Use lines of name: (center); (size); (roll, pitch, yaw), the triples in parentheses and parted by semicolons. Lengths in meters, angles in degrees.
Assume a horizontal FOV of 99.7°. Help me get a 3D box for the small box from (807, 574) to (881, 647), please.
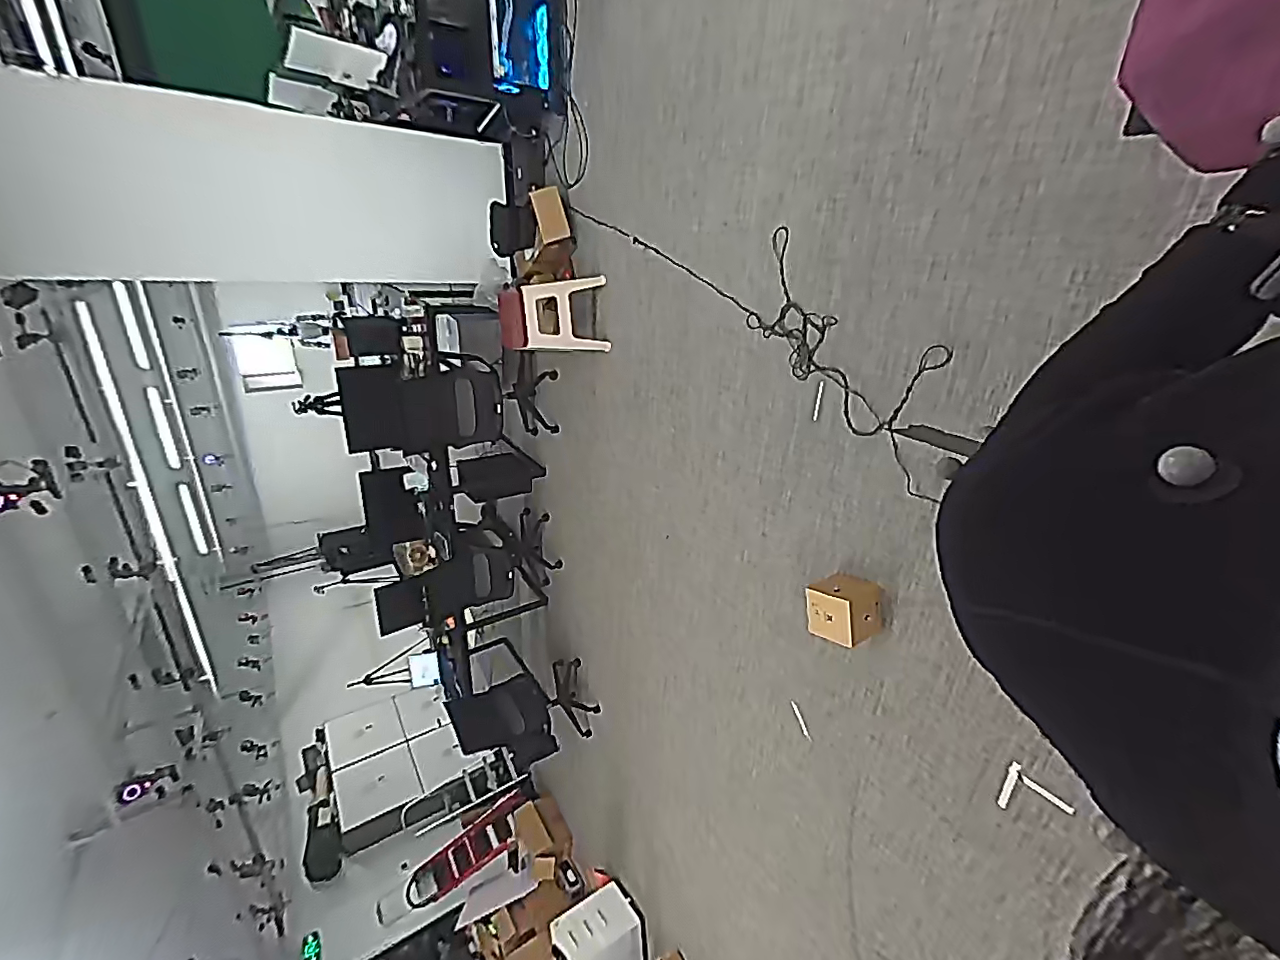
small box: (0.693, 0.432, 1.826); (0.179, 0.176, 0.168); (10, 110, 57)
